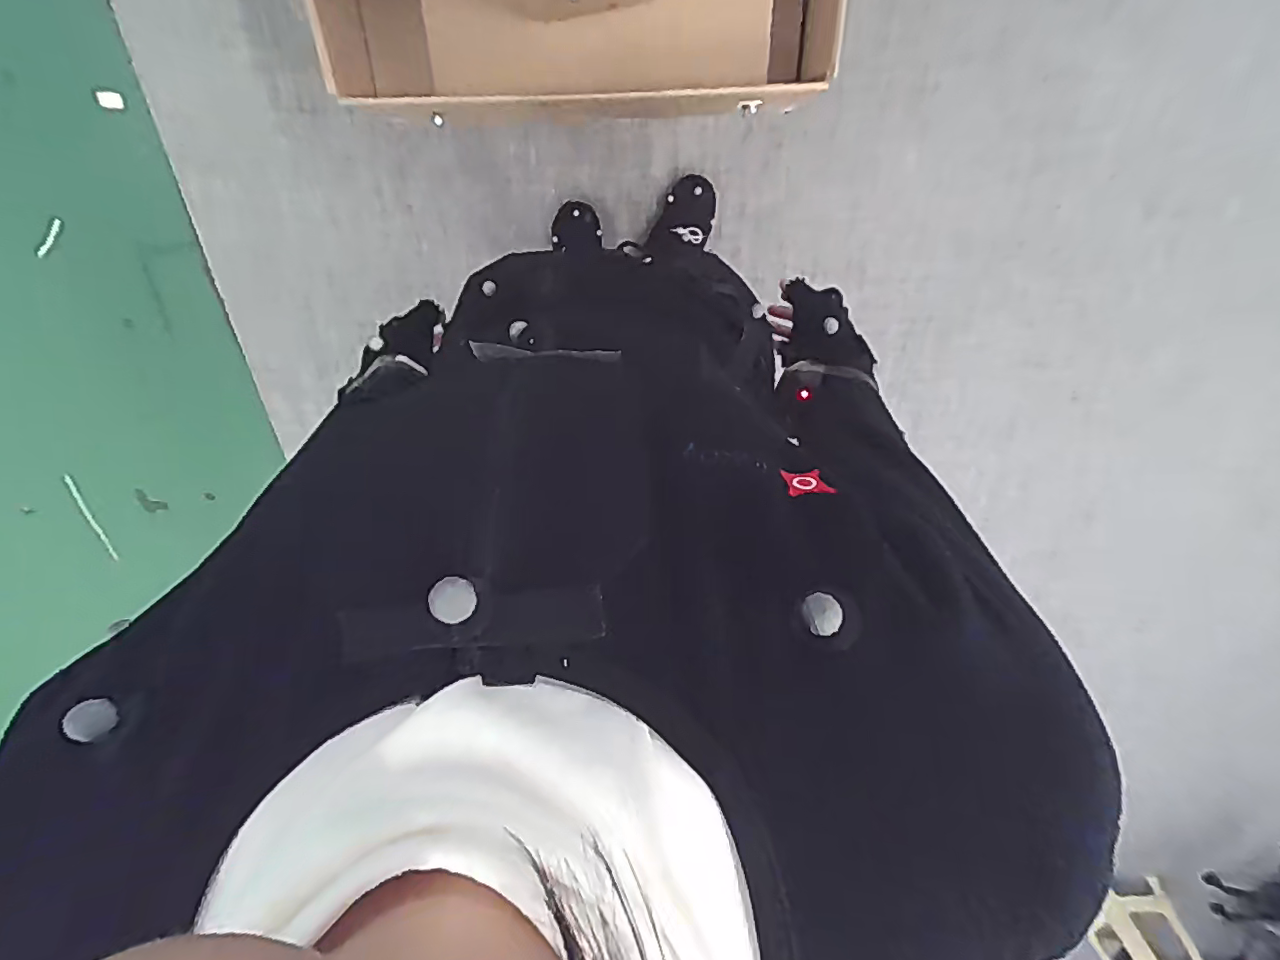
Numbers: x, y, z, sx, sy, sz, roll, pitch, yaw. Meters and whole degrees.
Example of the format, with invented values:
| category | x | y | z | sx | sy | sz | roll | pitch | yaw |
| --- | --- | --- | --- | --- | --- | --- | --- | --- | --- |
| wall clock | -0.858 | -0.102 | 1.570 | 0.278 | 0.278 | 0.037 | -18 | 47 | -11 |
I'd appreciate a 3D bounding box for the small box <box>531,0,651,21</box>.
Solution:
| category | x | y | z | sx | sy | sz | roll | pitch | yaw |
| --- | --- | --- | --- | --- | --- | --- | --- | --- | --- |
| small box | -0.070 | -0.660 | 0.609 | 0.168 | 0.176 | 0.179 | -6 | 119 | 6 |
